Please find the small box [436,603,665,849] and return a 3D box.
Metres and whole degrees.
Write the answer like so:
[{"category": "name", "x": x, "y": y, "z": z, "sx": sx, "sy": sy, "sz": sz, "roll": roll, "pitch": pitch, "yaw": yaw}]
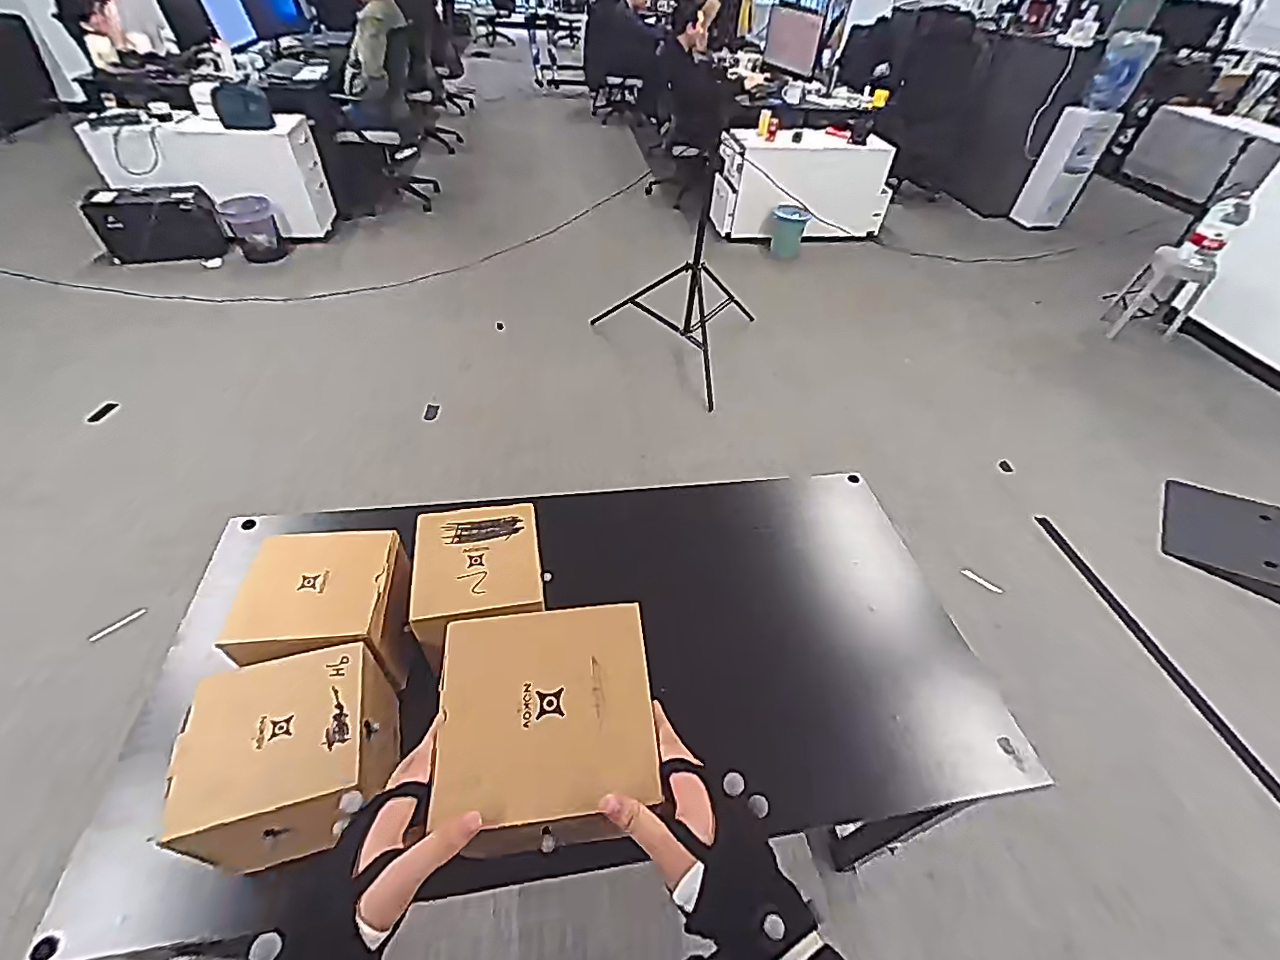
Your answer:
[{"category": "small box", "x": -0.077, "y": 0.237, "z": 0.515, "sx": 0.179, "sy": 0.176, "sz": 0.168, "roll": -5, "pitch": 52, "yaw": -6}]
